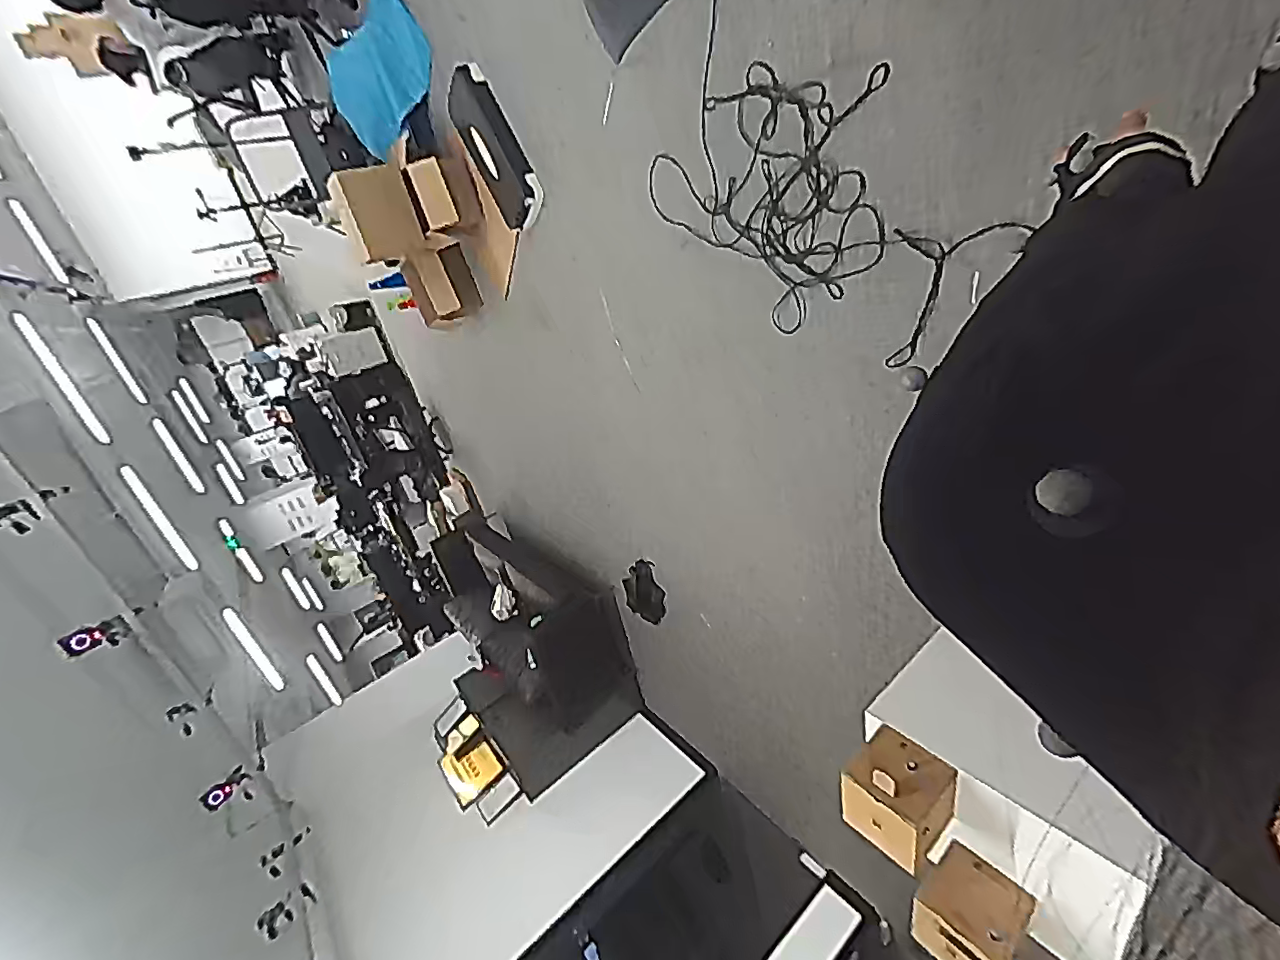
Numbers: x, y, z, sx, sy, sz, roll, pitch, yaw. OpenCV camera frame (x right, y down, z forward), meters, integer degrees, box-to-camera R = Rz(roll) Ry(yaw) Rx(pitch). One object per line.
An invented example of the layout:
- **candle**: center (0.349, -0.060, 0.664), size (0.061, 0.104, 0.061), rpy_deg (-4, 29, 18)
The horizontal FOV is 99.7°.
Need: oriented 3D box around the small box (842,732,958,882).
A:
- **small box**: center (0.554, 0.688, 1.155), size (0.168, 0.176, 0.179), rpy_deg (23, 133, 49)
